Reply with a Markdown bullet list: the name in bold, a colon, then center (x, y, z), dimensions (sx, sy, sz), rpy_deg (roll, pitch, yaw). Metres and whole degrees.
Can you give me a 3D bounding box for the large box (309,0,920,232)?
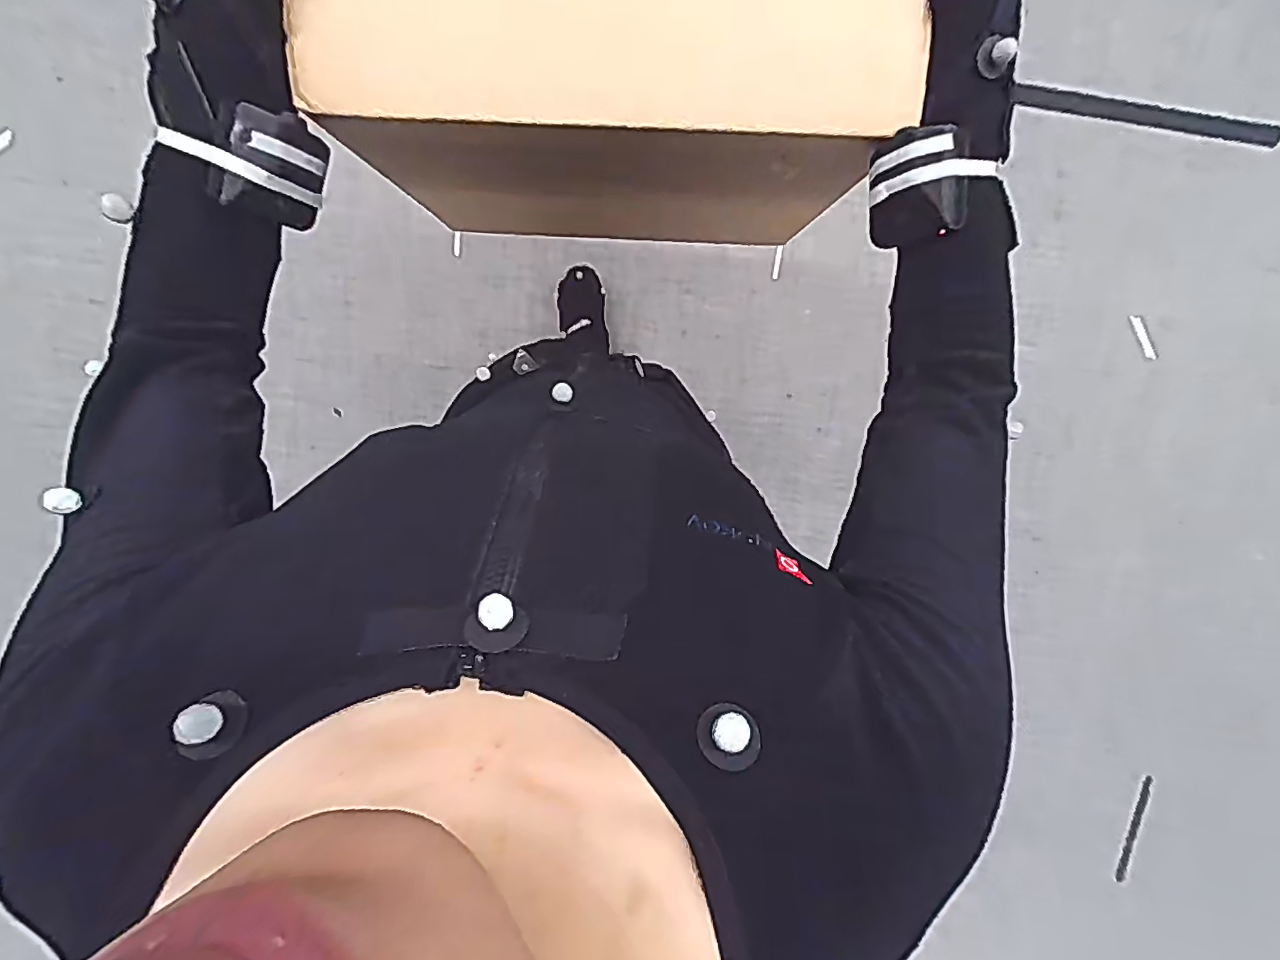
- **large box**: center (-0.017, -0.425, 0.481), dimensions (0.408, 0.320, 0.320), rpy_deg (1, 101, -2)
